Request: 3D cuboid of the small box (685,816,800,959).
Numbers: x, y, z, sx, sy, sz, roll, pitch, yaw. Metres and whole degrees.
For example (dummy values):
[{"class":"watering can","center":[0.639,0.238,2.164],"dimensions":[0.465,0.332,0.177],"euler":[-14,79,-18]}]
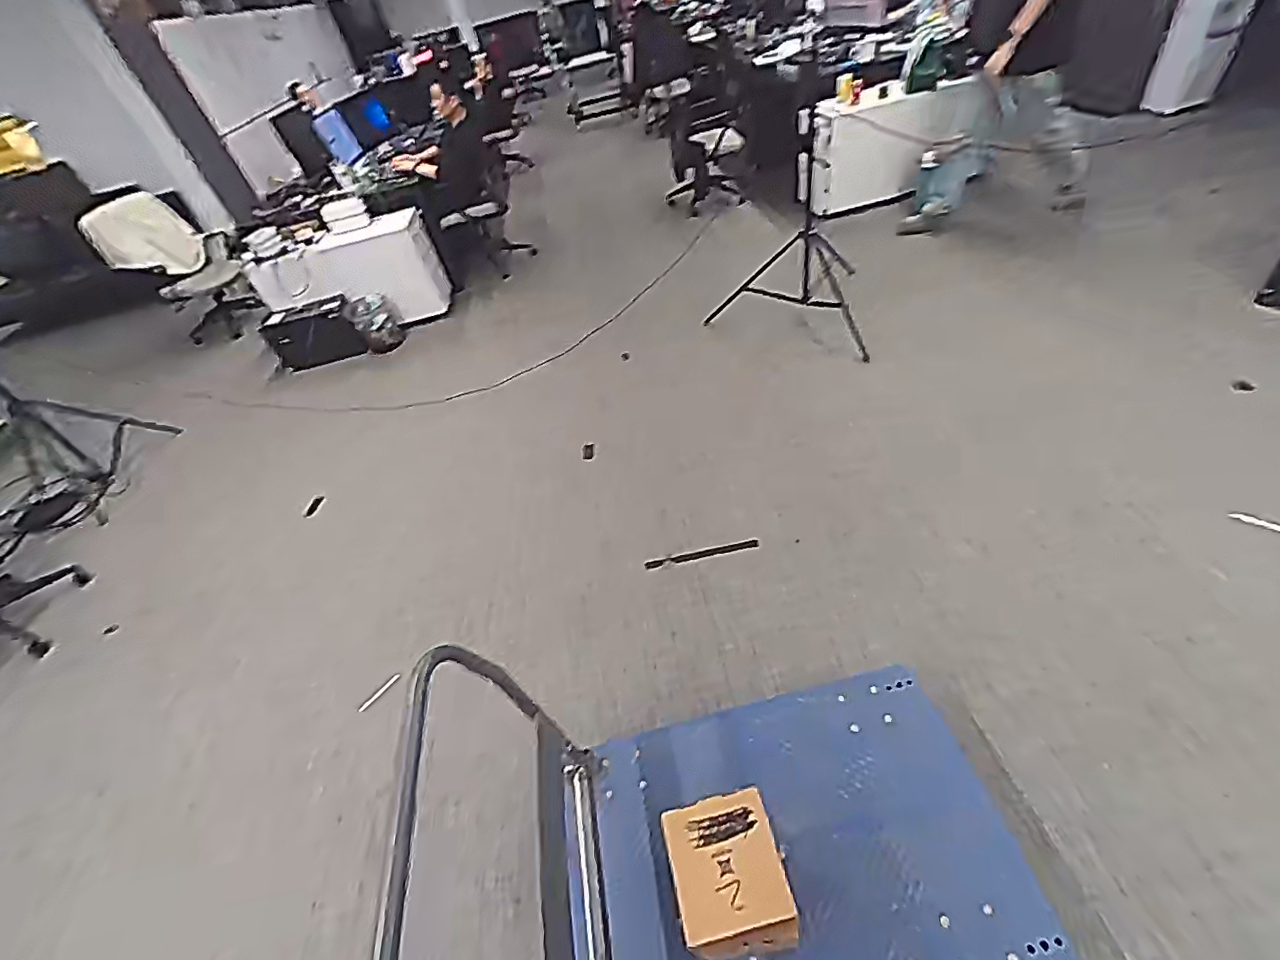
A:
[{"class":"small box","center":[0.185,0.751,0.992],"dimensions":[0.168,0.176,0.179],"euler":[-13,44,3]}]
